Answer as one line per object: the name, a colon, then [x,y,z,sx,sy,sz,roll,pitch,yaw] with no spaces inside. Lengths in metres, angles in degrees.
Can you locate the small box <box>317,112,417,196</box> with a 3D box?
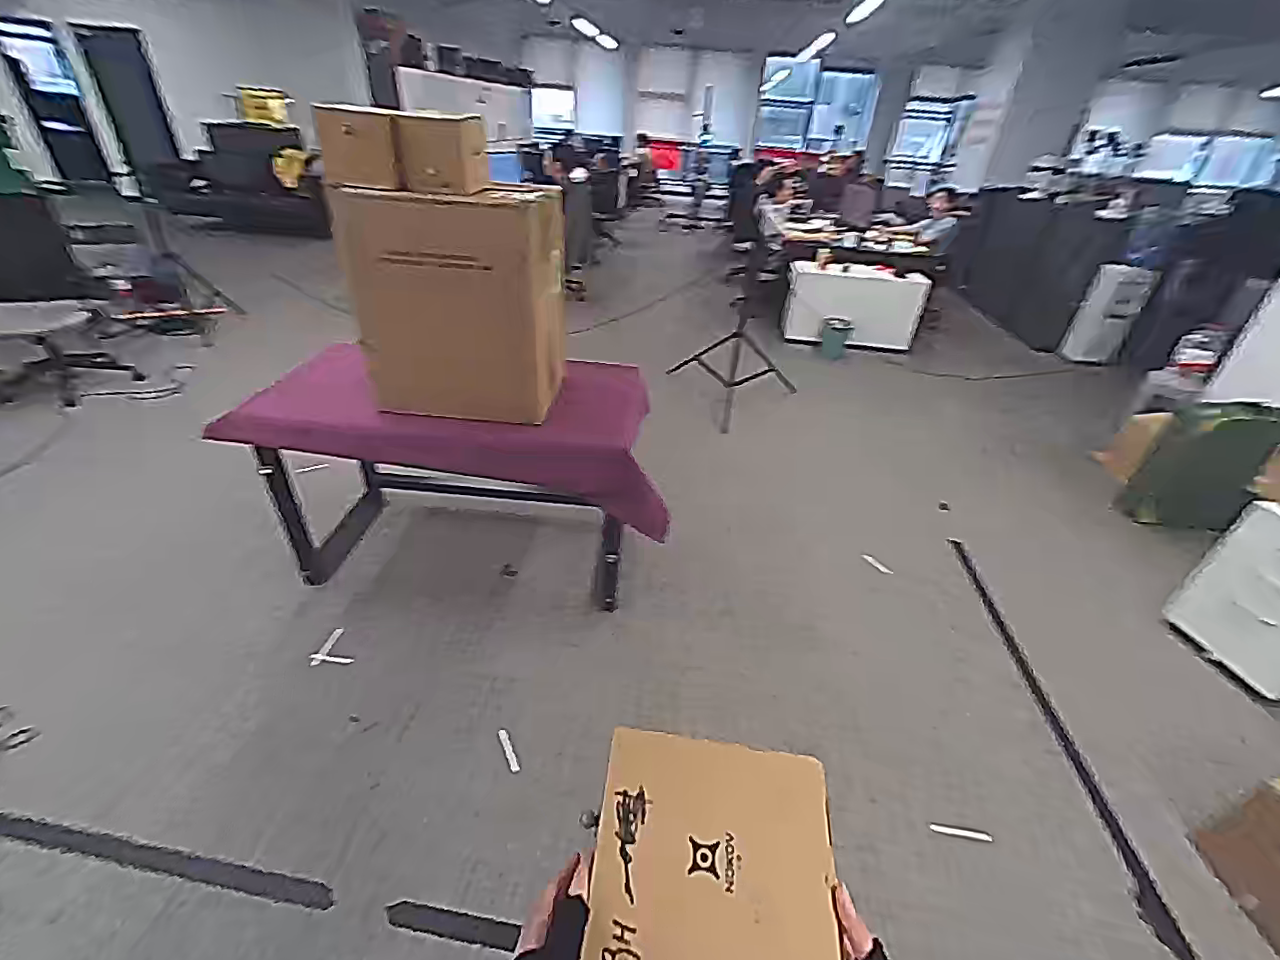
small box: [-0.684,-0.836,1.390,0.179,0.176,0.168,6,34,-2]

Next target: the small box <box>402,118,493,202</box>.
small box: [-0.495,-0.844,1.423,0.168,0.176,0.179,6,36,4]

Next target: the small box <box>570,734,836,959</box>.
small box: [0.041,0.334,0.445,0.179,0.176,0.168,8,45,0]
